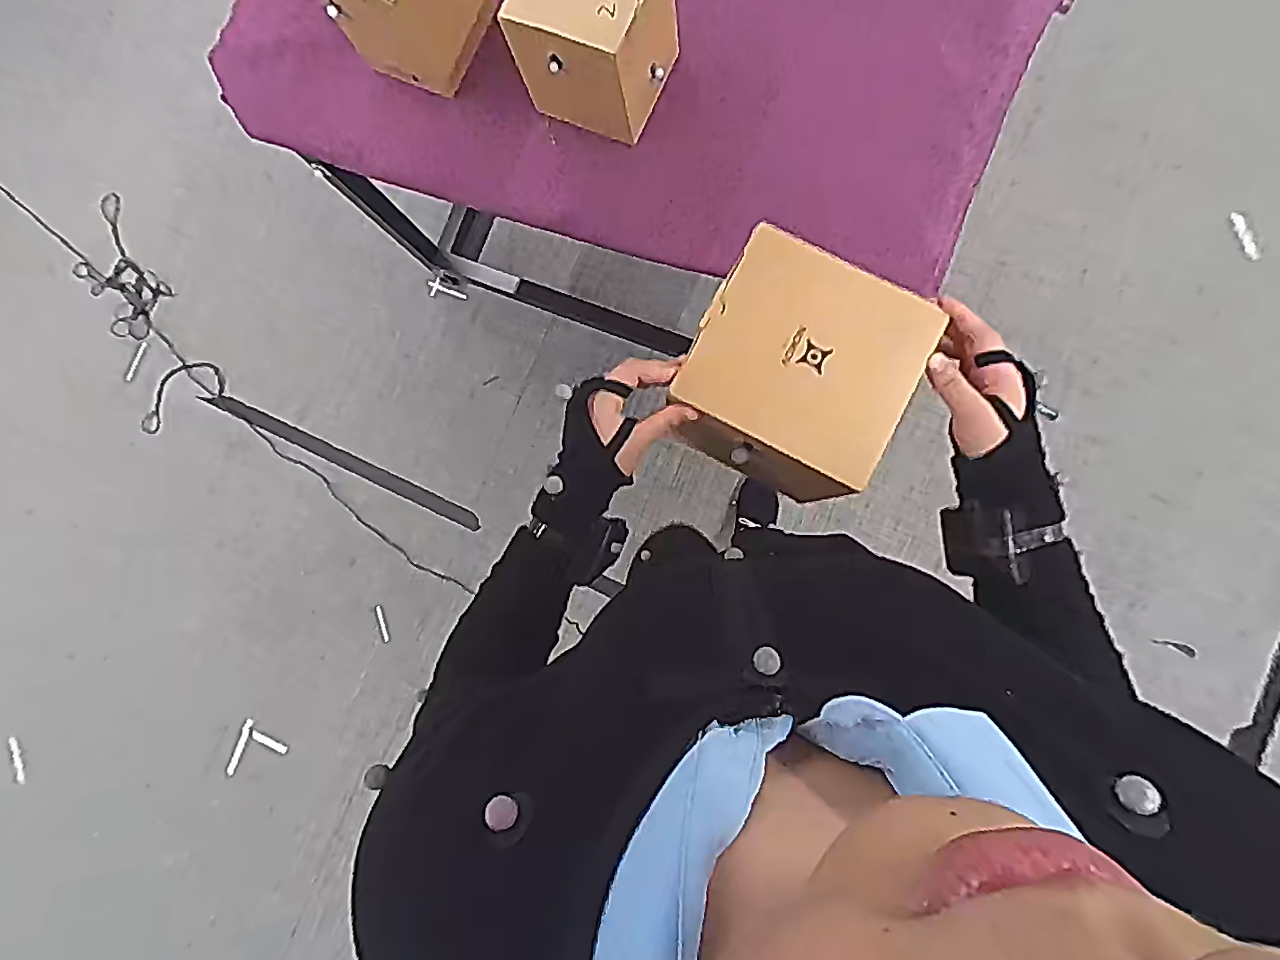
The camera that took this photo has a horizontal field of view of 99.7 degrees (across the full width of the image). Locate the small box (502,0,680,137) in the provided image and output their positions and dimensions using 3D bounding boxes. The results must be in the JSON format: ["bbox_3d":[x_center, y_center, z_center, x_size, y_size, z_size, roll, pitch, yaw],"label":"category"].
[{"bbox_3d":[-0.057,-0.628,0.760,0.179,0.176,0.168,25,90,8],"label":"small box"}]
